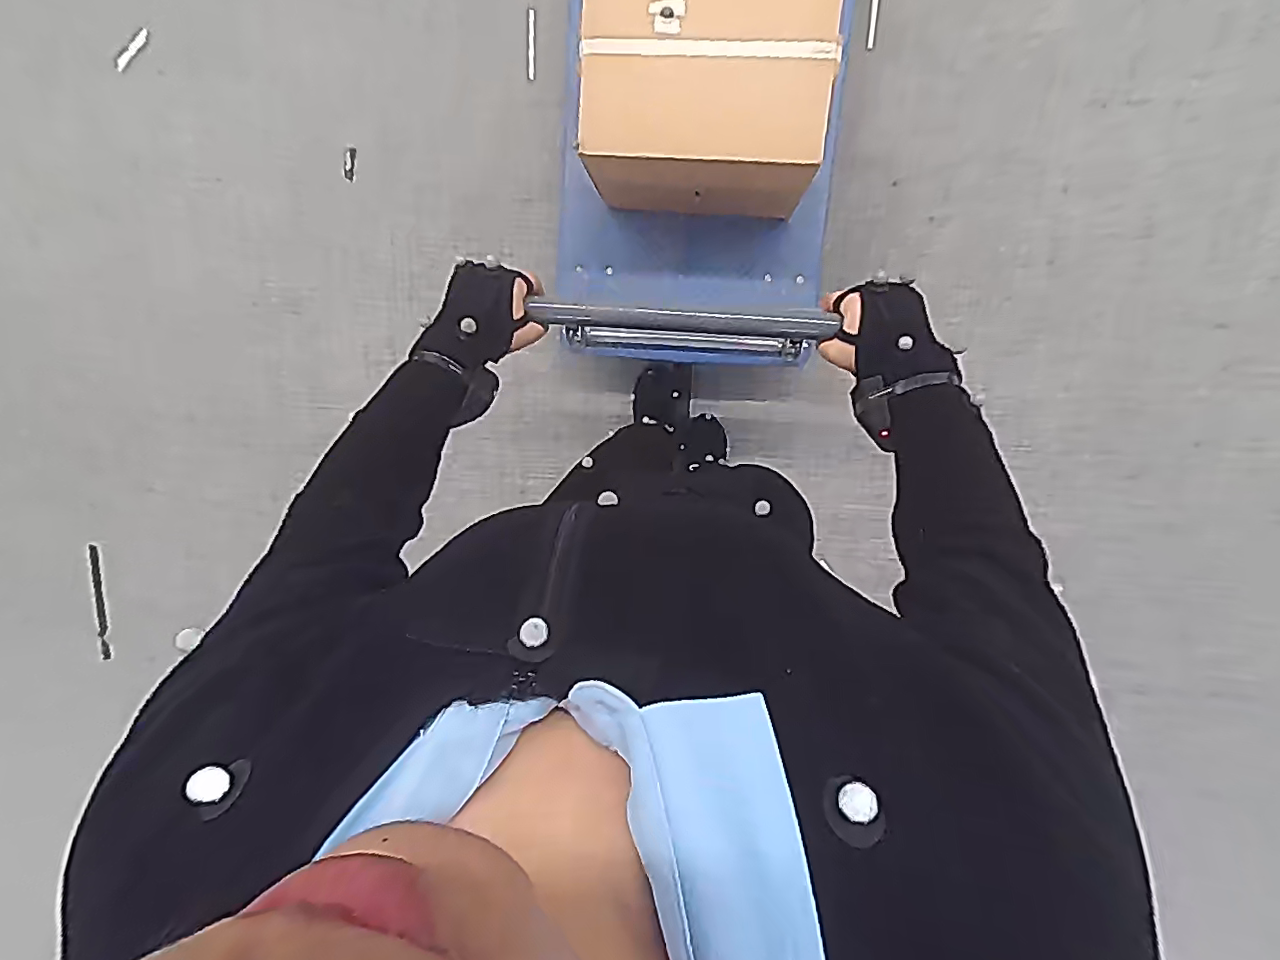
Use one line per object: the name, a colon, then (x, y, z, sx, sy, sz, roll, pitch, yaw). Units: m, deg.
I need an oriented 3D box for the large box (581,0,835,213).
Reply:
large box: (0.123, -0.711, 1.019, 0.408, 0.320, 0.320, 5, 100, 6)
